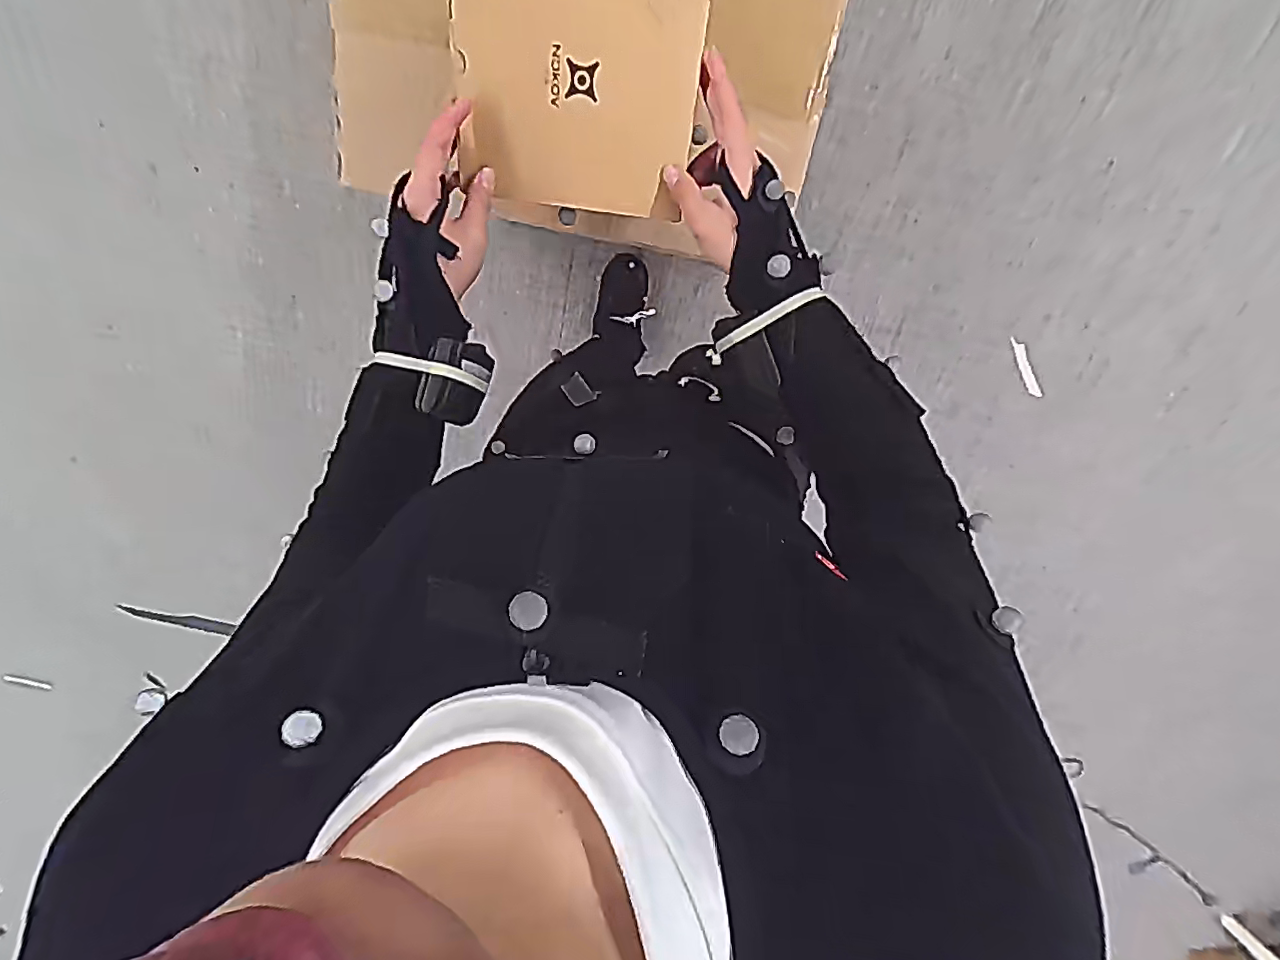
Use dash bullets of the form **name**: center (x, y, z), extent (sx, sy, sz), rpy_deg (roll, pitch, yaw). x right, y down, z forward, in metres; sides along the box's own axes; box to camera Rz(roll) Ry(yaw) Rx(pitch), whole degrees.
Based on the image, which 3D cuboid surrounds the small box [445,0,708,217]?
- **small box**: center (-0.045, -0.328, 0.447), extent (0.179, 0.176, 0.168), rpy_deg (8, 122, -1)
